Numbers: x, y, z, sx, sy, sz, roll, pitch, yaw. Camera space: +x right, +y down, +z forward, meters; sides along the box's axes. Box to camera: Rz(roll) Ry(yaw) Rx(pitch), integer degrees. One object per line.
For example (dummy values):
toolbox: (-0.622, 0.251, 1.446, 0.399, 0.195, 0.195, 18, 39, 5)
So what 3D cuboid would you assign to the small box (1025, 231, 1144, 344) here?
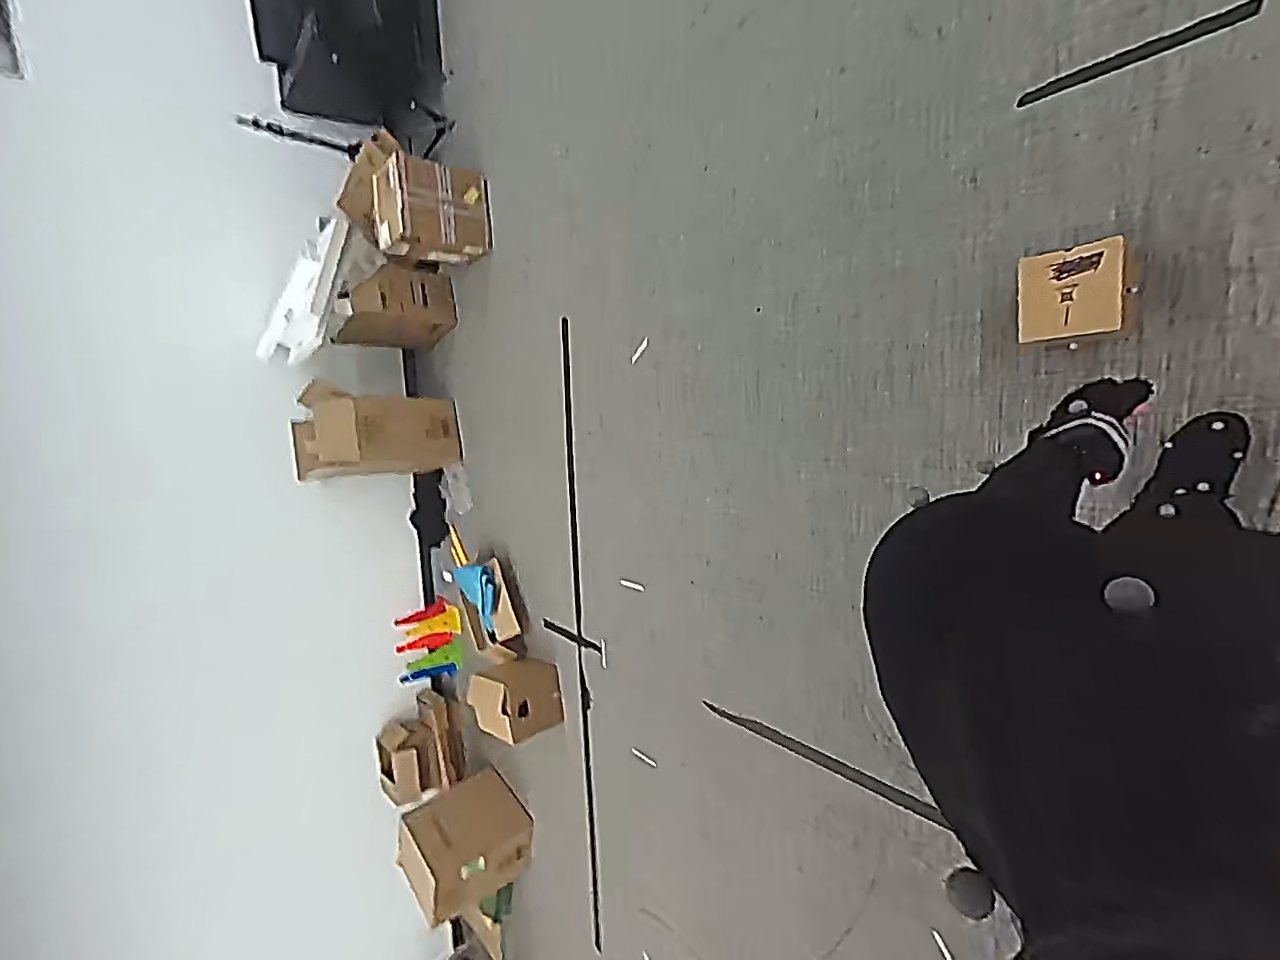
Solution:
small box: (0.907, -0.381, 1.104, 0.168, 0.176, 0.179, 3, 99, 48)
